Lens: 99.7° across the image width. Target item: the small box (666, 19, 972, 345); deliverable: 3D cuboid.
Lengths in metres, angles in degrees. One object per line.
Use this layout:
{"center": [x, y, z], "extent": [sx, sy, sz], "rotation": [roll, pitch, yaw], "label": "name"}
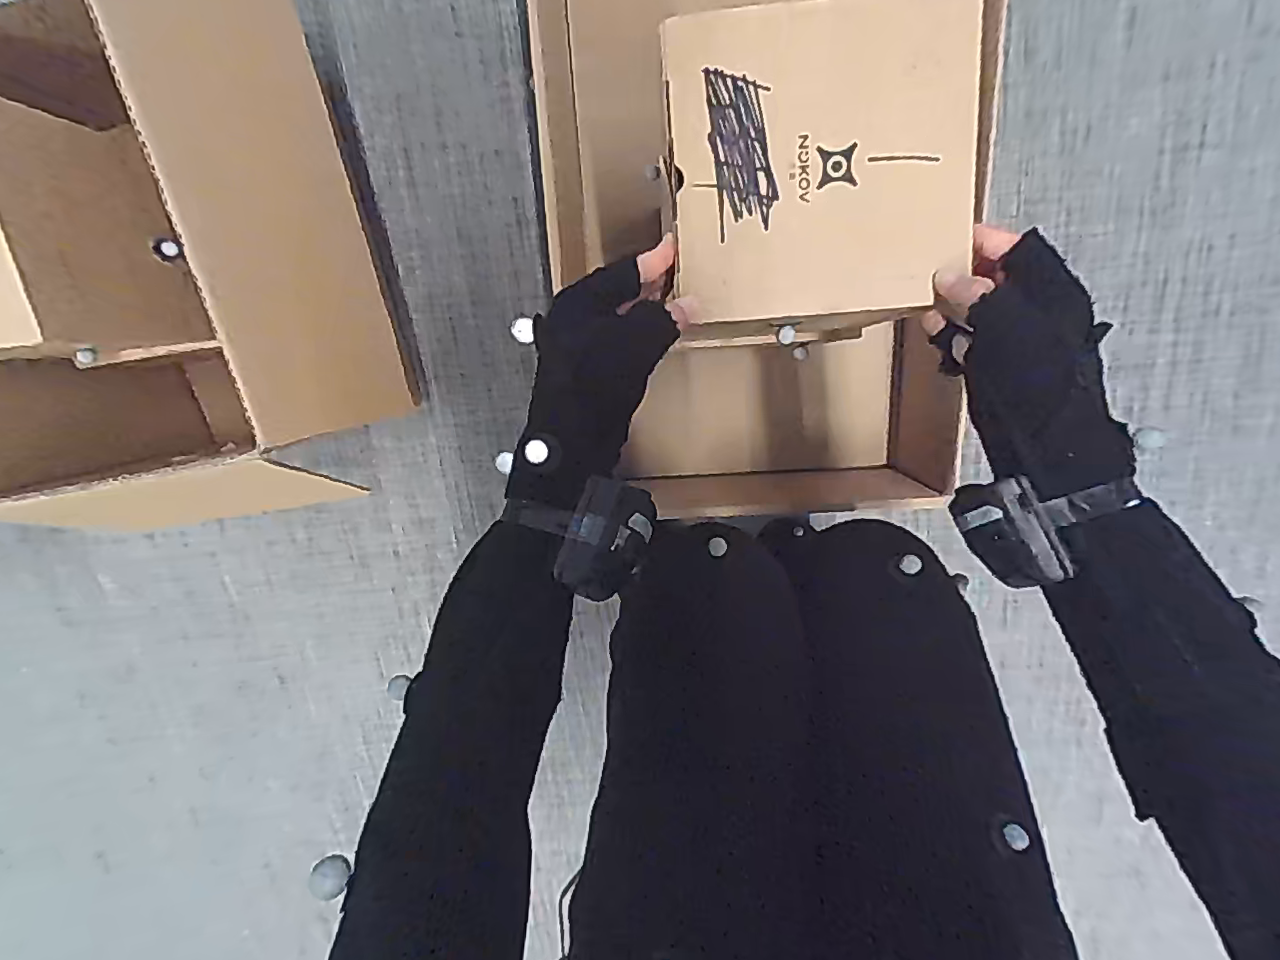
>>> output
{"center": [0.109, -0.193, 0.404], "extent": [0.179, 0.176, 0.168], "rotation": [-4, 101, 1], "label": "small box"}
